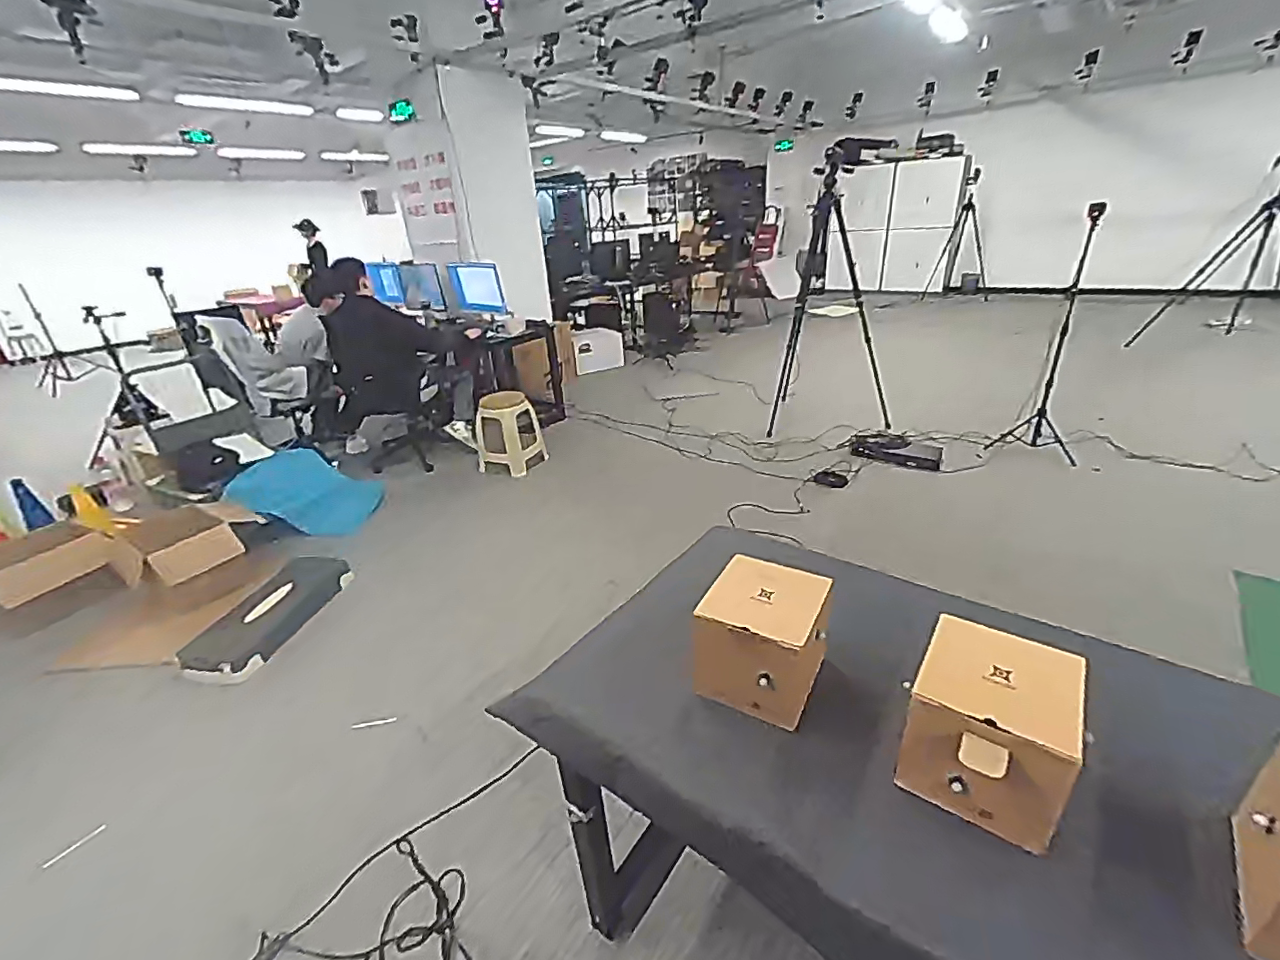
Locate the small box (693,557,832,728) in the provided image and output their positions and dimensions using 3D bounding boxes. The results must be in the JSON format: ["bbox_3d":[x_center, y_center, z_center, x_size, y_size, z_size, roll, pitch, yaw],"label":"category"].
[{"bbox_3d":[0.197,0.254,0.863,0.168,0.176,0.179,13,29,28],"label":"small box"}]

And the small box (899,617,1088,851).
[{"bbox_3d":[0.449,0.316,0.697,0.168,0.176,0.179,15,32,34],"label":"small box"}]
